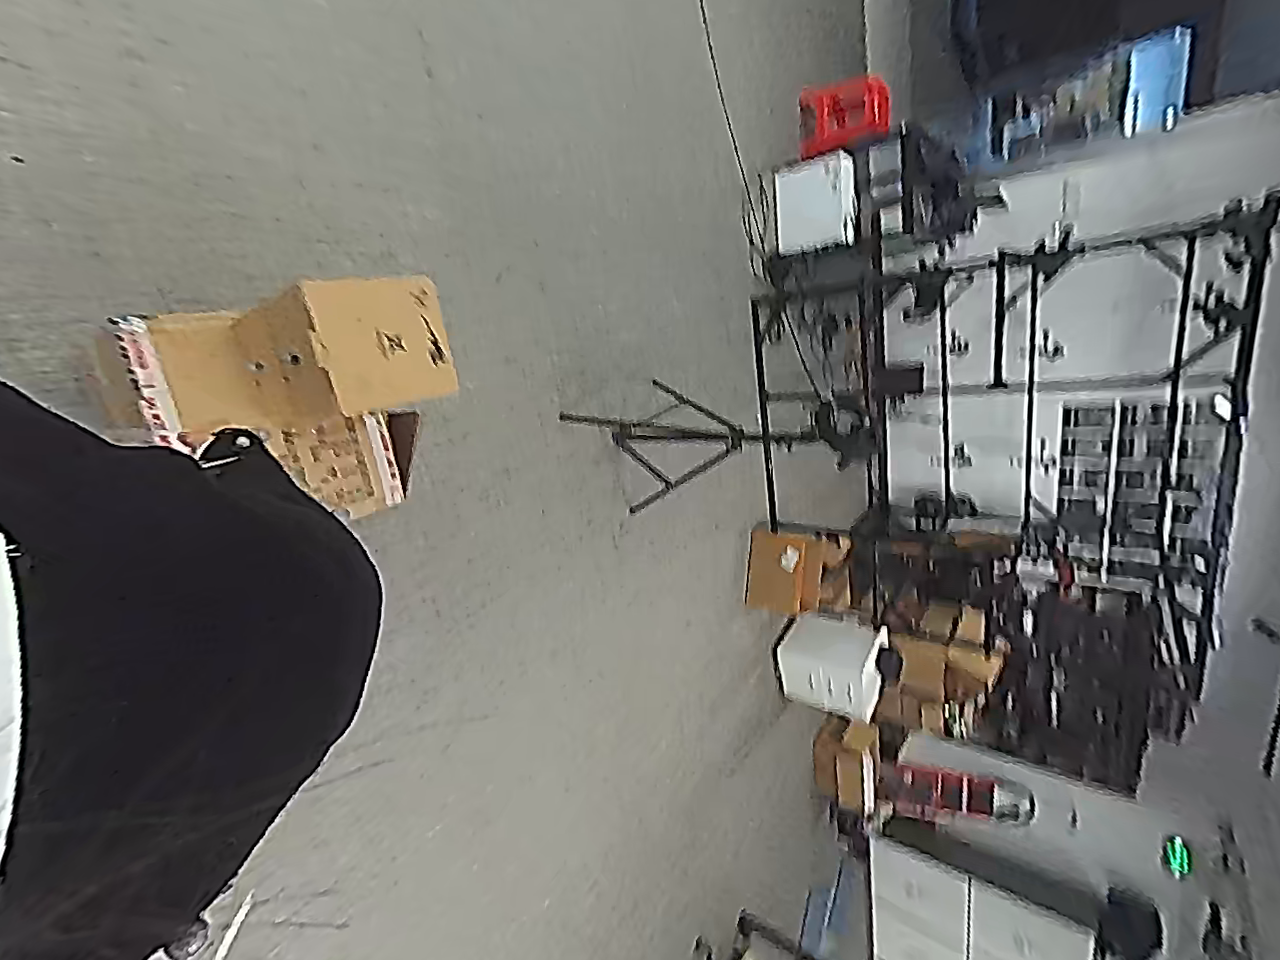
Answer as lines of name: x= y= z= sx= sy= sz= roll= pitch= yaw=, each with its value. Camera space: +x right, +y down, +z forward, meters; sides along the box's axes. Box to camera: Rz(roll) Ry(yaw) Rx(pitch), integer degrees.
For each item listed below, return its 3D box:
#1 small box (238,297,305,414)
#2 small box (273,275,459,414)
small box: x=-0.514 y=-0.206 z=0.887 sx=0.179 sy=0.176 sz=0.168 roll=-26 pitch=111 yaw=-45
small box: x=-0.395 y=-0.191 z=0.774 sx=0.179 sy=0.176 sz=0.168 roll=-24 pitch=110 yaw=-45
